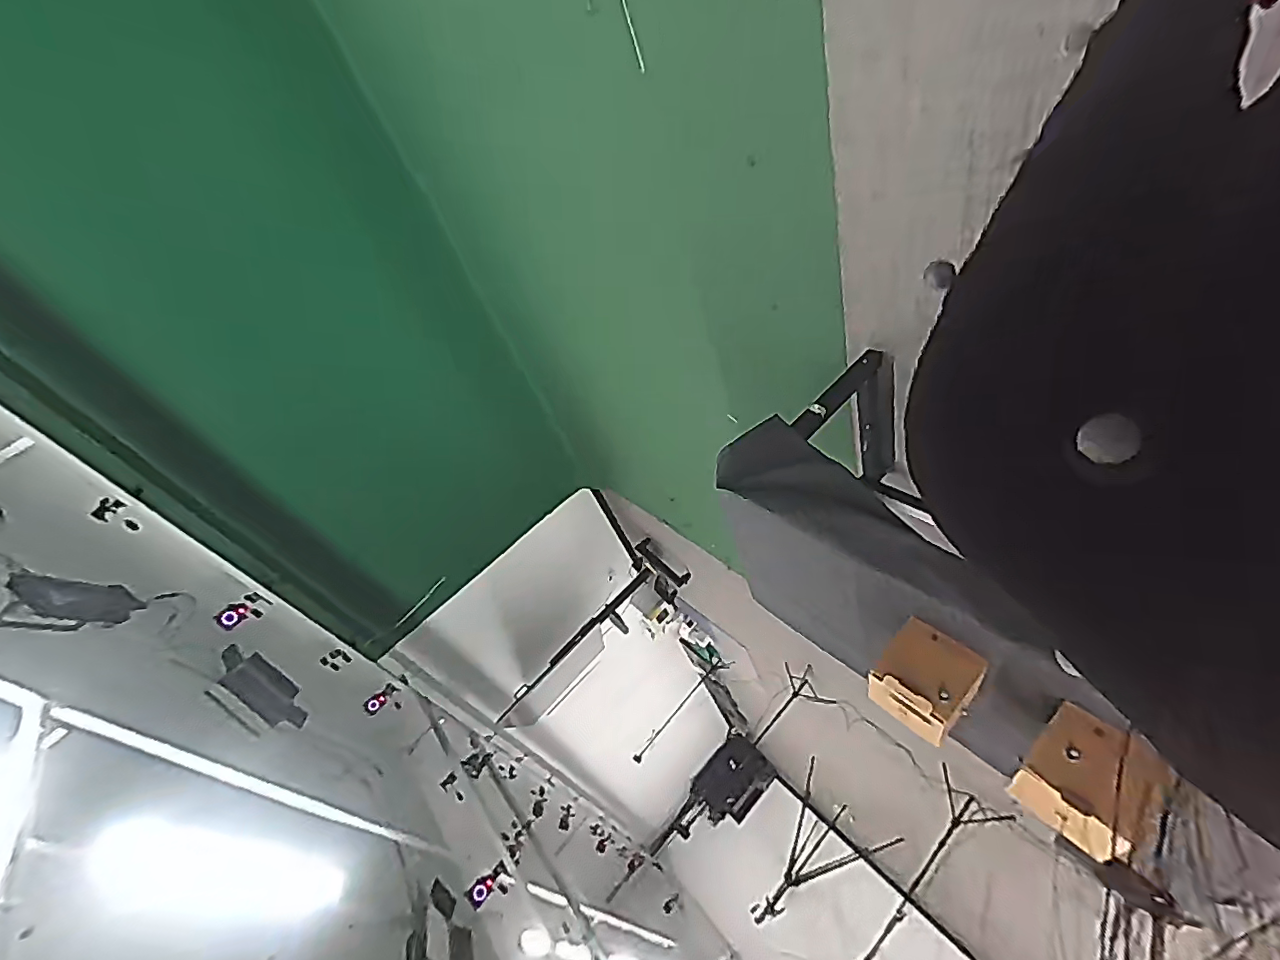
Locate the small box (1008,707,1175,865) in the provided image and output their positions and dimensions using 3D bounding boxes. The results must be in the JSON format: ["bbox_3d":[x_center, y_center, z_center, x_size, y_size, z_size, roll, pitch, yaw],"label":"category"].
[{"bbox_3d":[0.812,0.547,0.979,0.168,0.176,0.179,34,159,41],"label":"small box"}]
